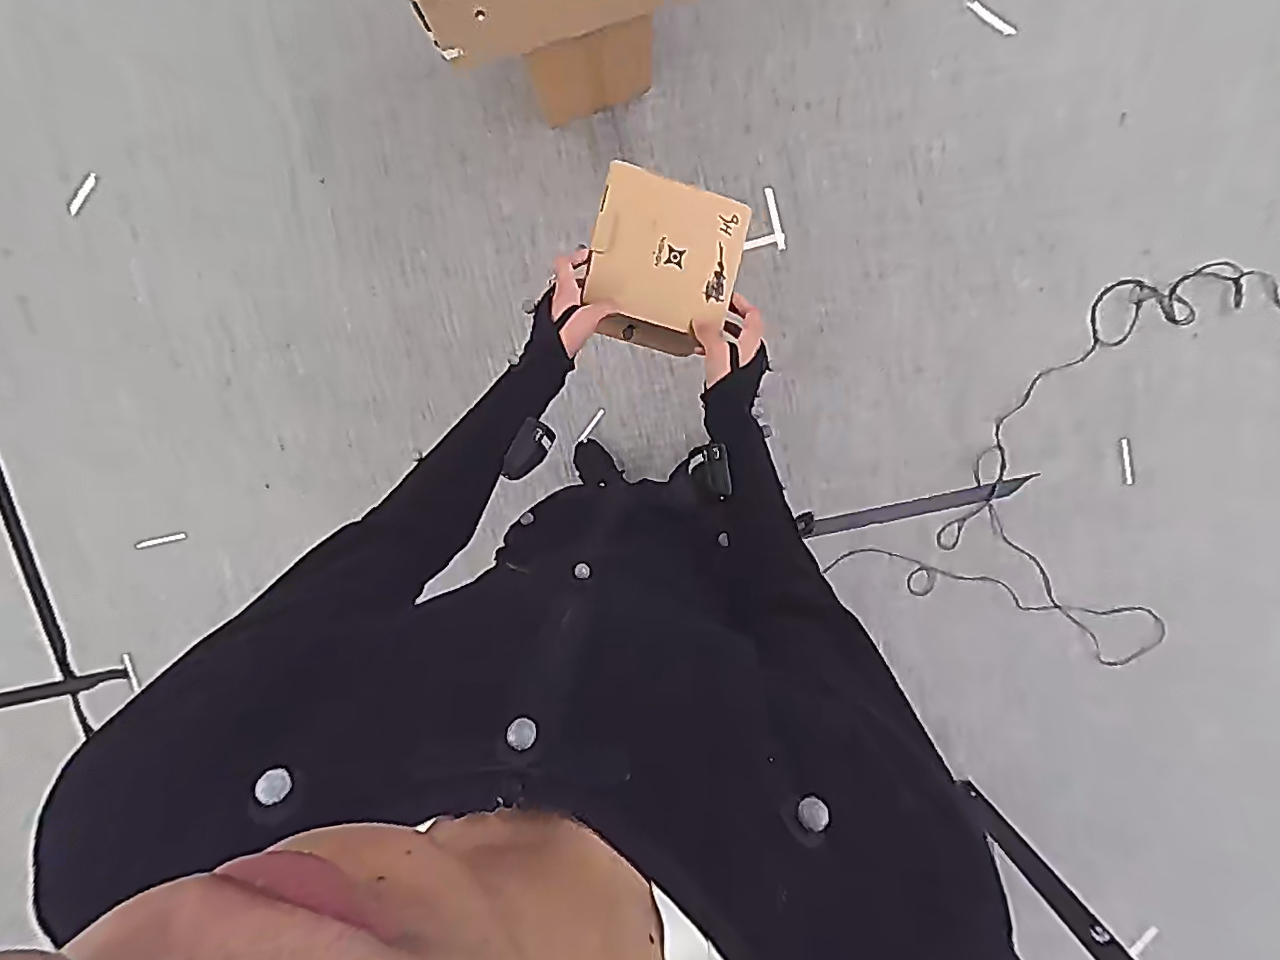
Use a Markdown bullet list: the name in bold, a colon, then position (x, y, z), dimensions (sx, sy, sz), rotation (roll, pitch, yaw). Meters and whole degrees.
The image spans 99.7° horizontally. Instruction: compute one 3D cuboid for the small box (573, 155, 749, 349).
- **small box**: position (0.014, -0.277, 0.703), dimensions (0.179, 0.176, 0.168), rotation (13, 94, -11)
